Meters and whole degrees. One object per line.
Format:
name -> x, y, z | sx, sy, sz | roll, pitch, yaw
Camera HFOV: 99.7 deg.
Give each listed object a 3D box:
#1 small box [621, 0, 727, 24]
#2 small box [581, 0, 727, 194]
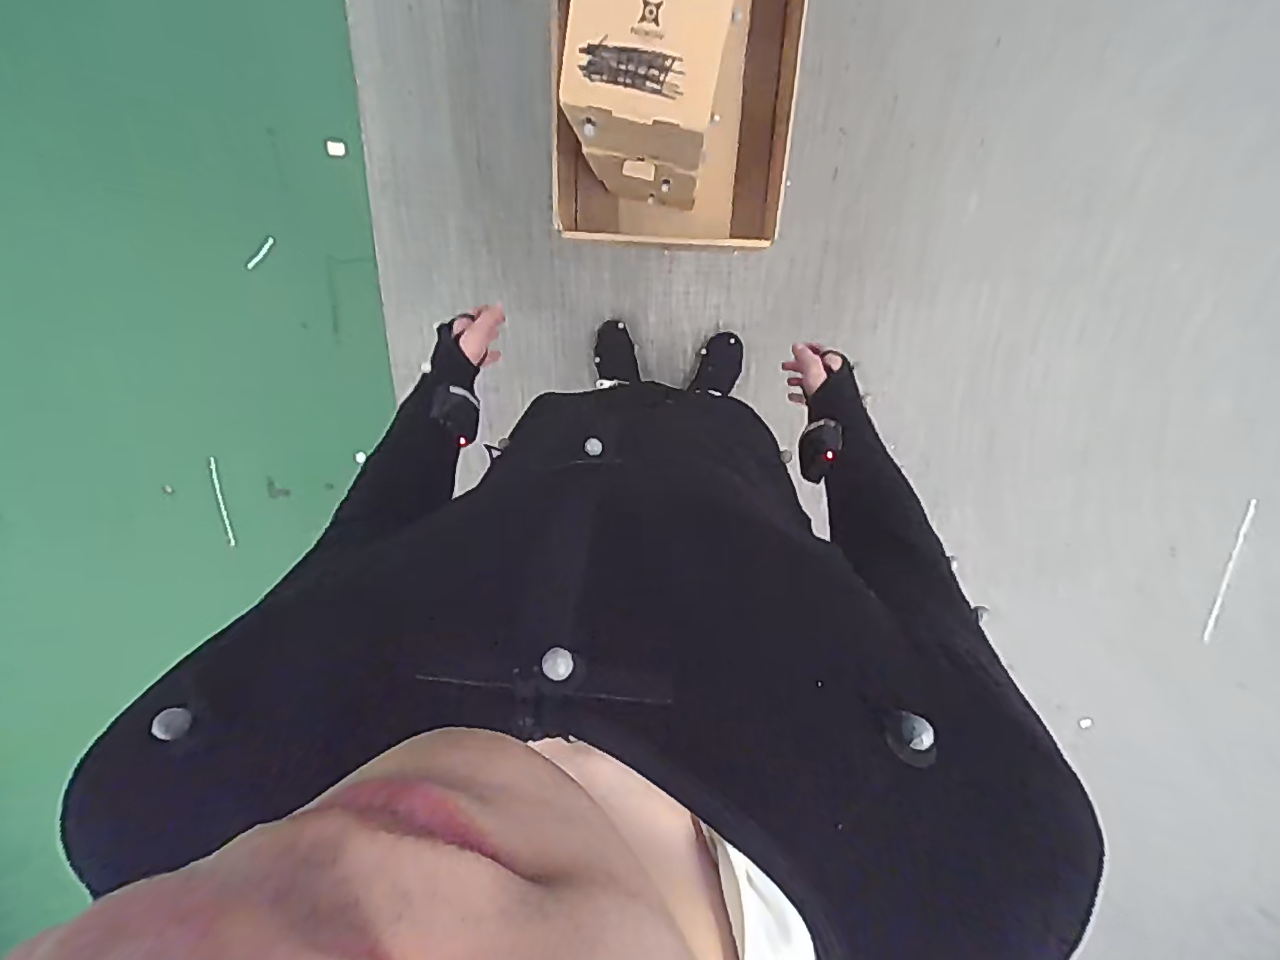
small box -> 0.059, -0.827, 0.866 | 0.168, 0.176, 0.179 | 4, 110, 4
small box -> 0.021, -0.538, 0.787 | 0.168, 0.176, 0.179 | 12, 107, -1
